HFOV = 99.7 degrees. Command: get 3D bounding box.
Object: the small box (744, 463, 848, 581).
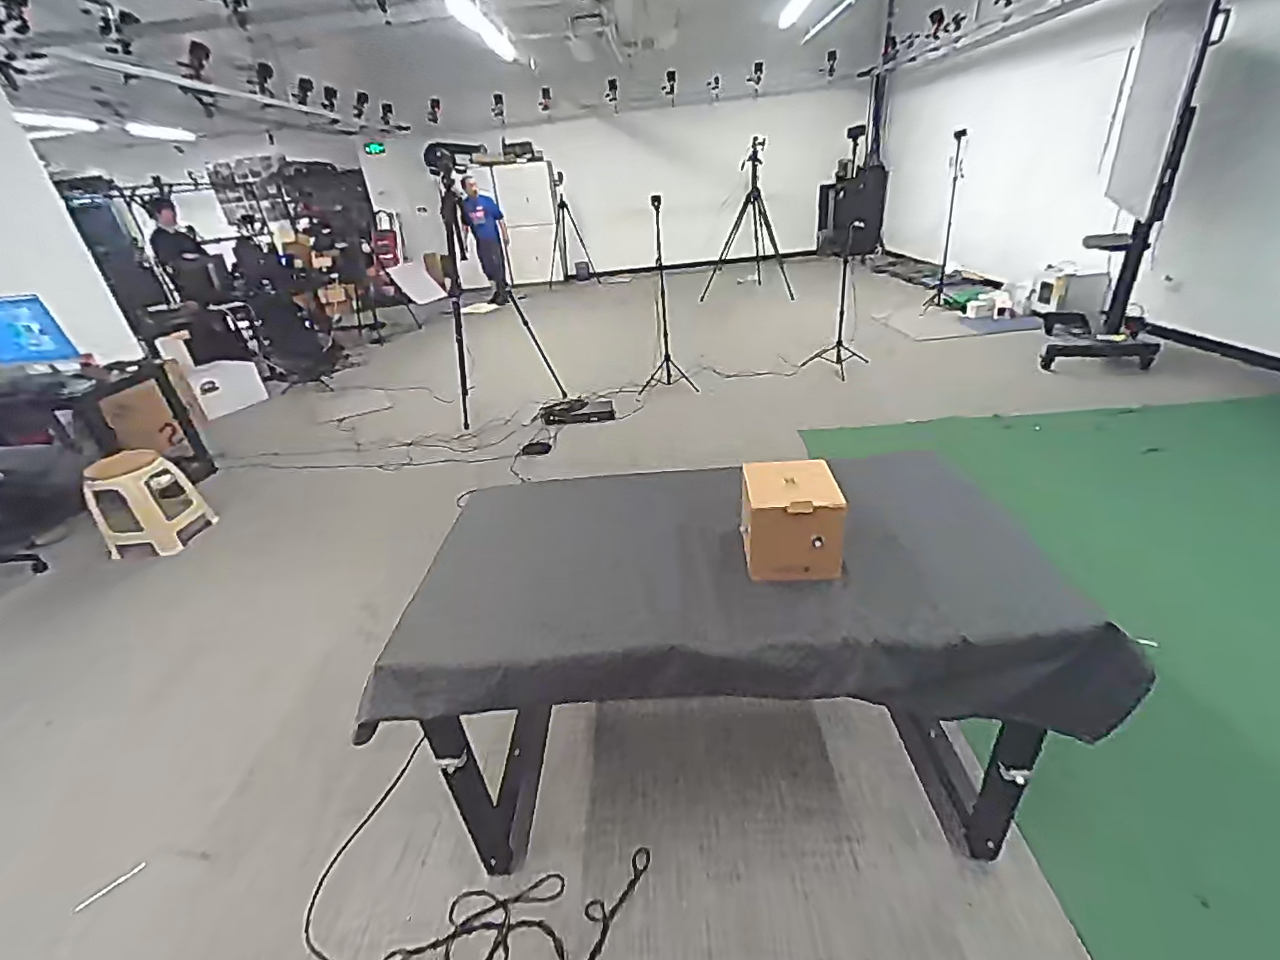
[{"bbox_3d":[0.292,0.082,1.046,0.168,0.176,0.179,-2,27,5],"label":"small box"}]
